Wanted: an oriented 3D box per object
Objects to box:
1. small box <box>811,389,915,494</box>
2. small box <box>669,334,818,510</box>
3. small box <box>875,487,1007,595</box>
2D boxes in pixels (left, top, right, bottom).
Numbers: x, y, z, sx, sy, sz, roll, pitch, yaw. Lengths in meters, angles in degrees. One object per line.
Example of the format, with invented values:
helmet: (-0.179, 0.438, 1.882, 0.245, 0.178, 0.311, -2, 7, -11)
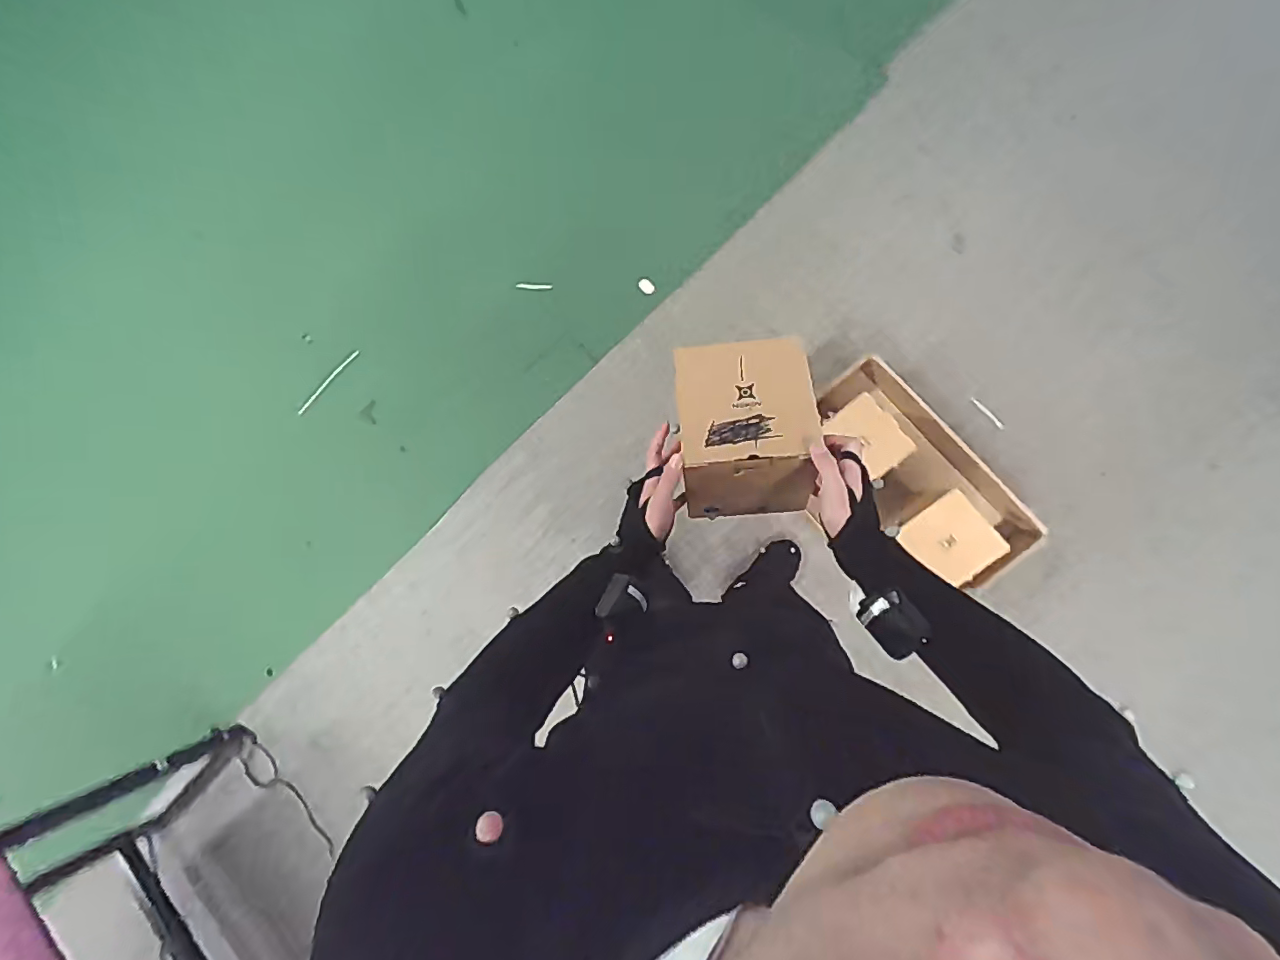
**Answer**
small box: (0.495, -0.084, 1.263, 0.179, 0.176, 0.168, -39, 82, 8)
small box: (0.131, -0.066, 0.726, 0.168, 0.176, 0.179, -5, 63, 5)
small box: (0.668, 0.130, 1.225, 0.179, 0.176, 0.168, -39, 82, 9)
